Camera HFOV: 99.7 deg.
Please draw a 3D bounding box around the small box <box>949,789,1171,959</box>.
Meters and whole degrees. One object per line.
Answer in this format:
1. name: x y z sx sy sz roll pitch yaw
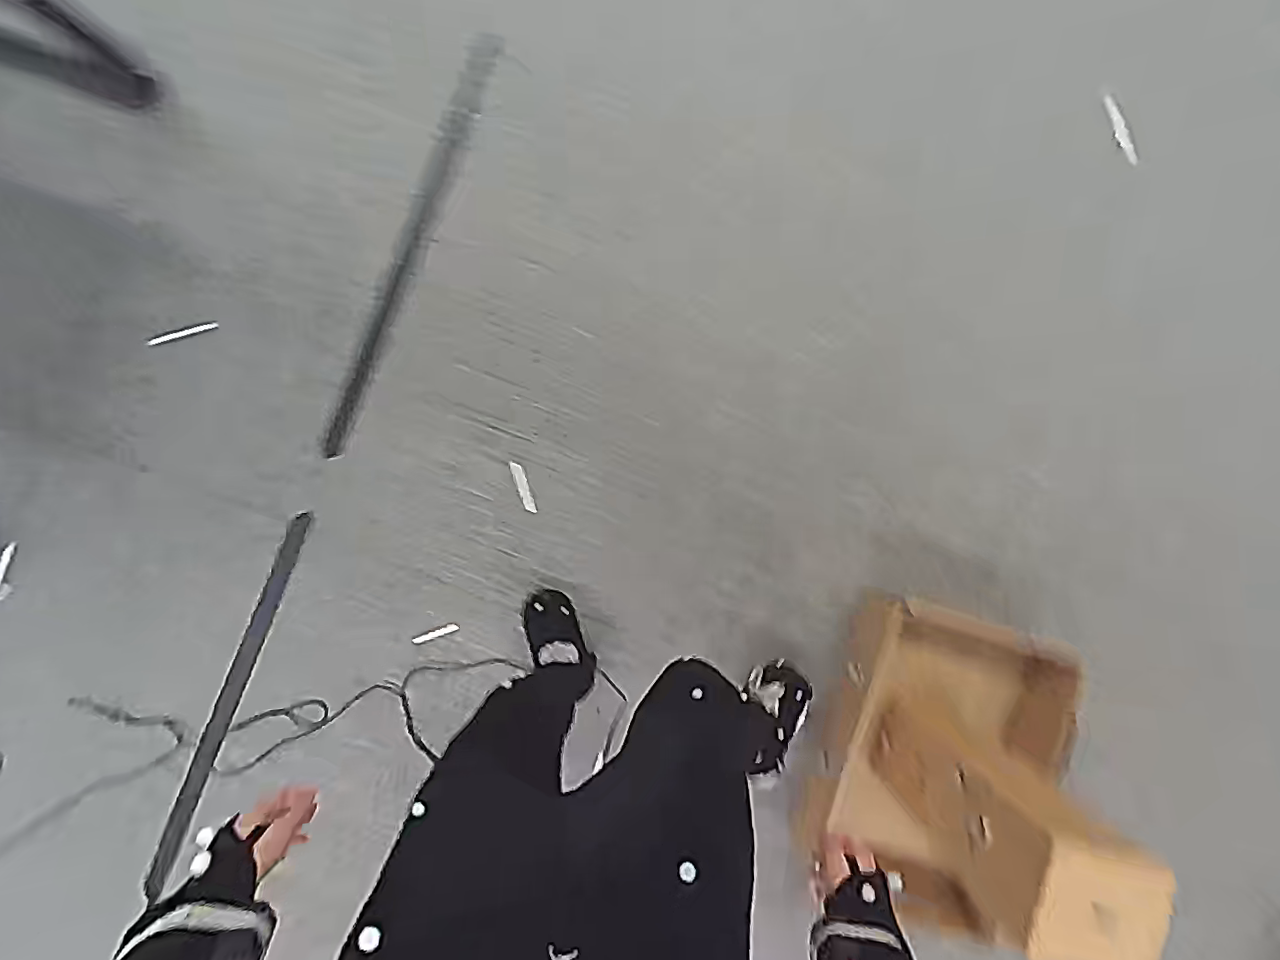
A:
1. small box: 0.605 0.595 0.801 0.179 0.176 0.168 16 89 0
